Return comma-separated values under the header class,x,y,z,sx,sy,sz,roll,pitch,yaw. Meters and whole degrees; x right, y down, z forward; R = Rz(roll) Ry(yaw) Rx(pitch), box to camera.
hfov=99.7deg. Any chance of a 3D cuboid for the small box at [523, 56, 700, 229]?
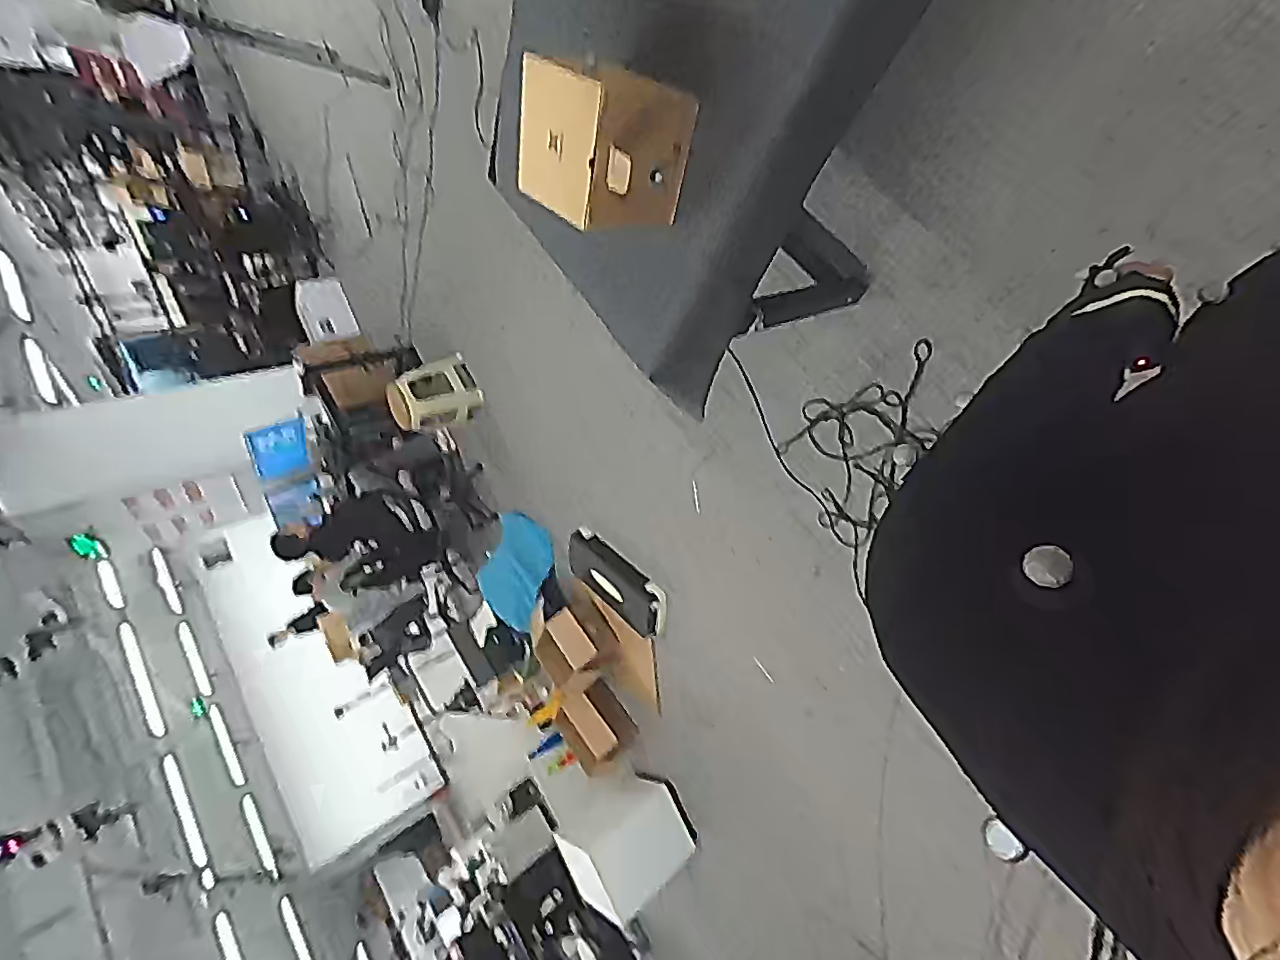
class,x,y,z,sx,sy,sz,roll,pitch,yaw
small box,-0.046,-0.474,0.770,0.179,0.176,0.168,43,138,29
